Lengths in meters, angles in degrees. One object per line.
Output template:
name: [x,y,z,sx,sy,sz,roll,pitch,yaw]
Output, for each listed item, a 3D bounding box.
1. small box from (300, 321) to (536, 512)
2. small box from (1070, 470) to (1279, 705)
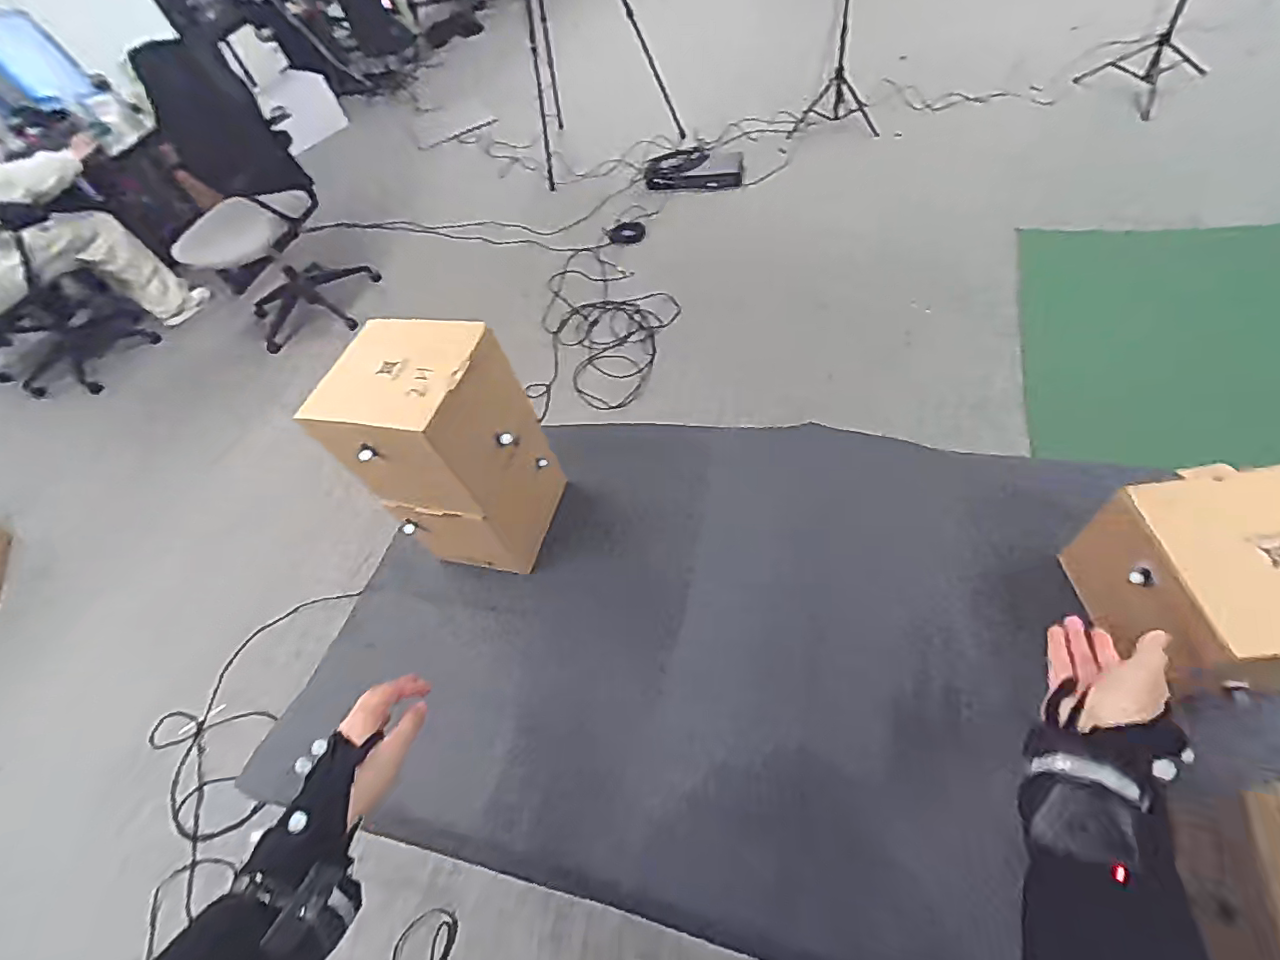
small box: [-0.258,-0.076,0.671,0.179,0.176,0.168,8,58,17]
small box: [0.588,0.113,0.545,0.168,0.176,0.179,-10,56,10]
